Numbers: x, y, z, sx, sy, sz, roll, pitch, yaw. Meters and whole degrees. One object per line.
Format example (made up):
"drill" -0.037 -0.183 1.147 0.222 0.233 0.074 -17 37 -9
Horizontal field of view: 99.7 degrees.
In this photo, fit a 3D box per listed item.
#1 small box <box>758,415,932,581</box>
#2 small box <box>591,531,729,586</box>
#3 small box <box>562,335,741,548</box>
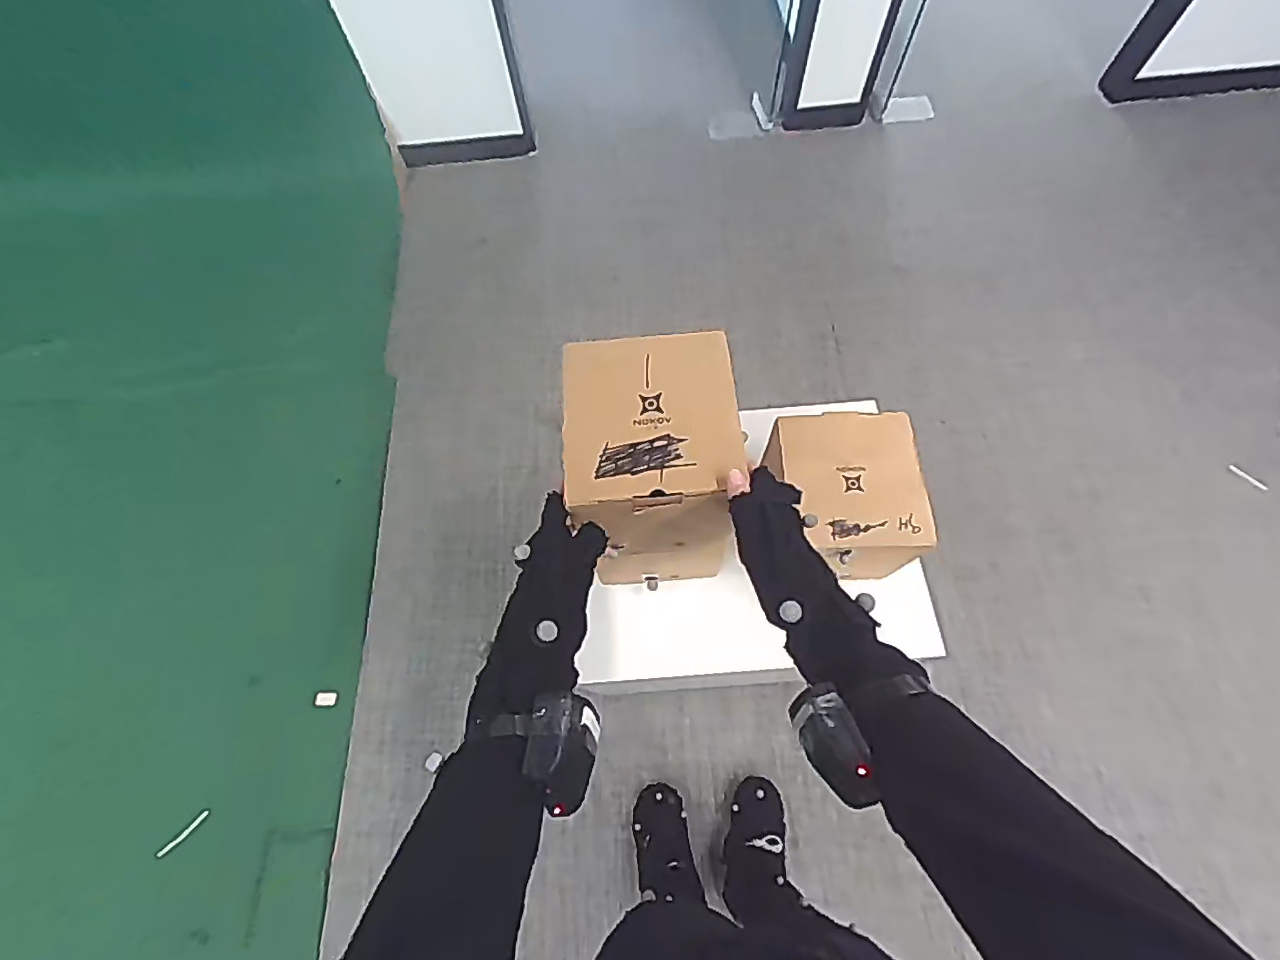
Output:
"small box" 0.257 0.030 0.727 0.168 0.176 0.179 -1 66 3
"small box" 0.020 0.037 0.739 0.168 0.176 0.179 -6 68 1
"small box" 0.012 -0.029 0.588 0.168 0.176 0.179 -4 66 1
